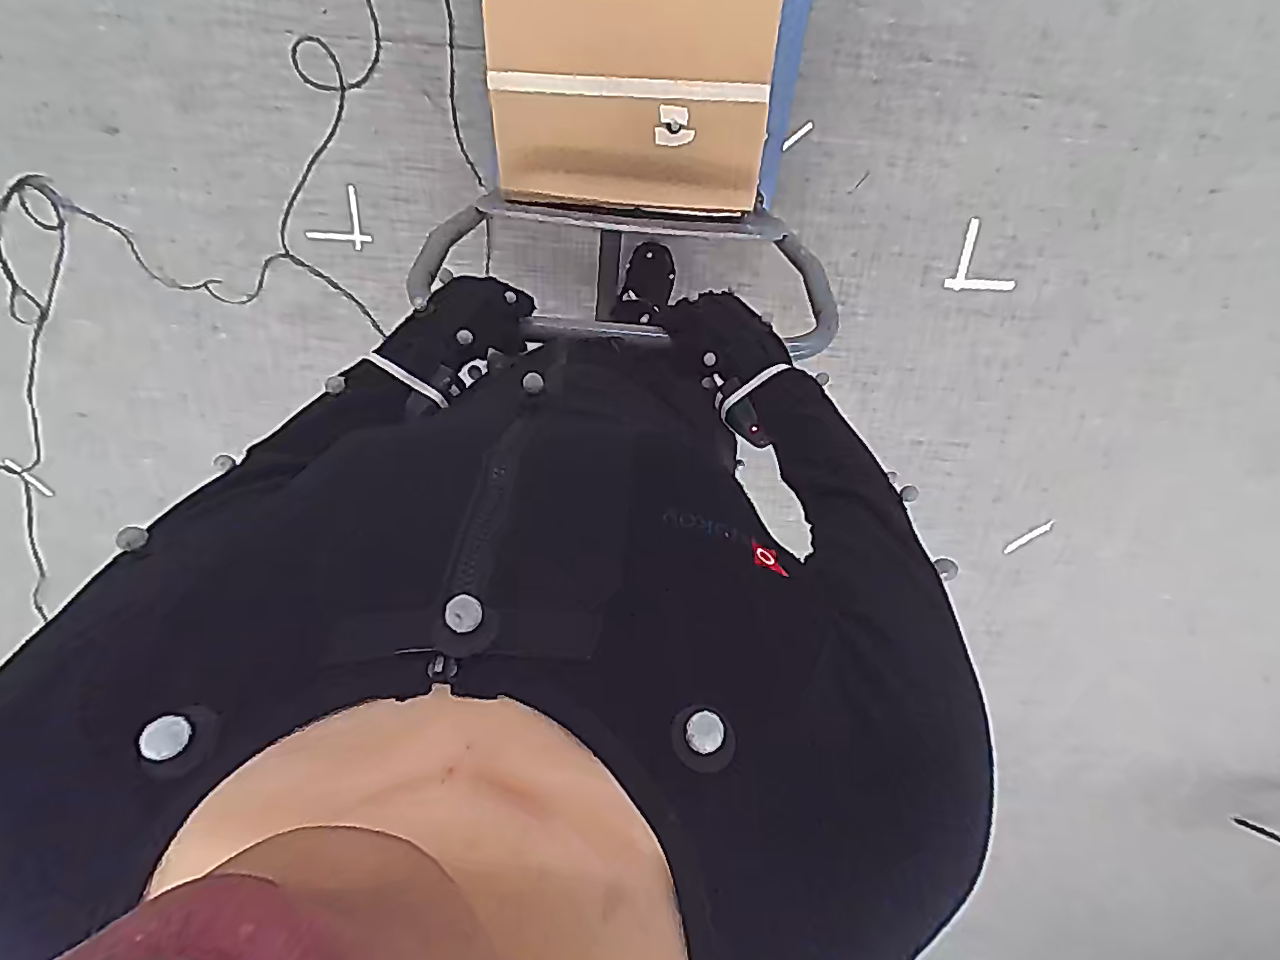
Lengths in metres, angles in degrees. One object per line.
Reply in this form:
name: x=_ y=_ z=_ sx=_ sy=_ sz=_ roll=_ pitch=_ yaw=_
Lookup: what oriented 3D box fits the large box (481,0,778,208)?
large box: x=-0.019 y=-0.646 z=0.894 sx=0.408 sy=0.320 sz=0.320 roll=2 pitch=125 yaw=-2
